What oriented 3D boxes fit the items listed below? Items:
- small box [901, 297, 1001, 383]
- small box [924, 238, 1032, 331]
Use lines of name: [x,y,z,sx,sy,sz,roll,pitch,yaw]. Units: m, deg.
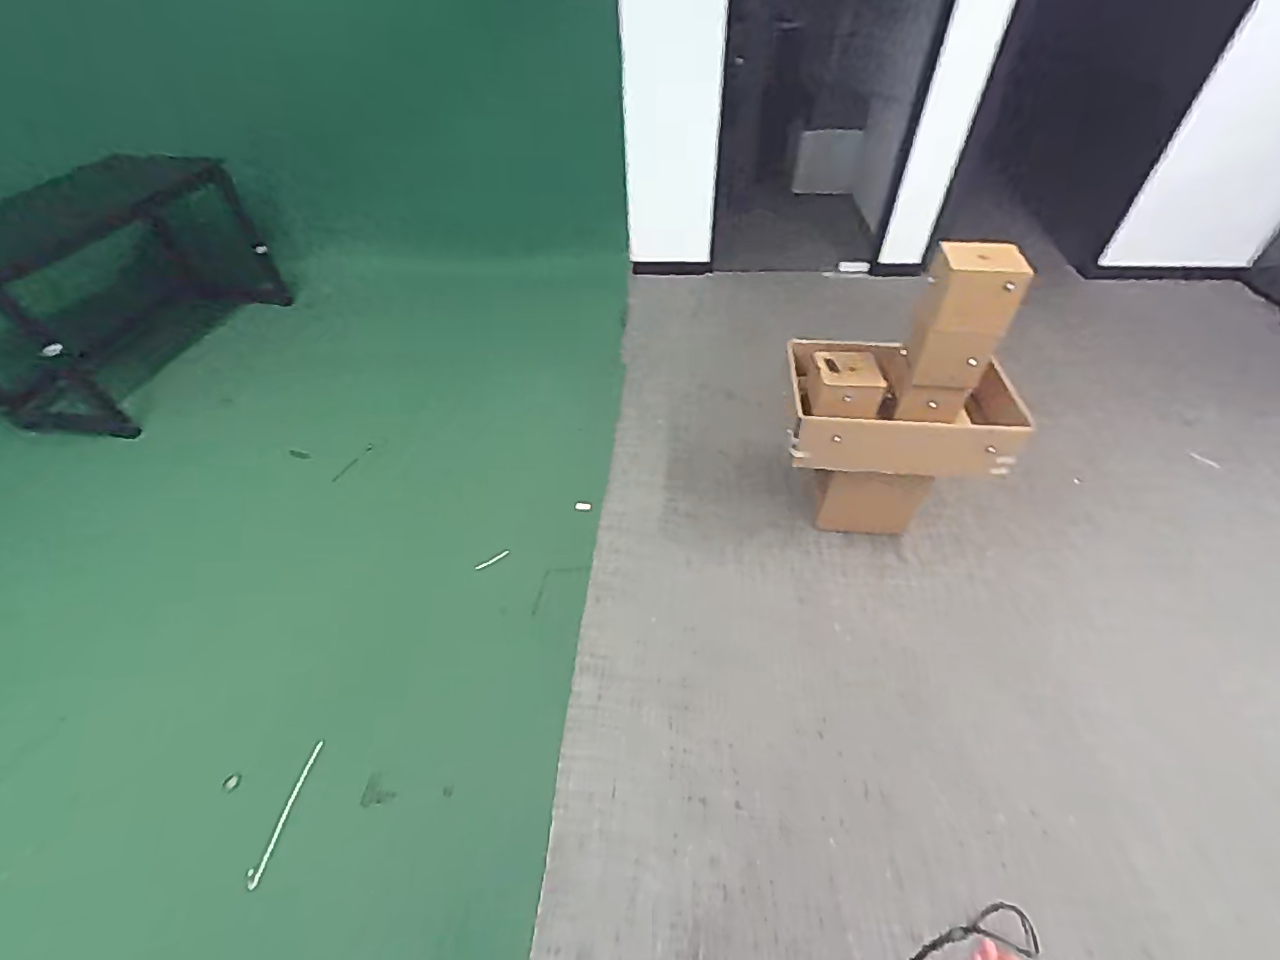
small box: [0.841,-0.381,1.482,0.179,0.176,0.168,5,47,9]
small box: [0.837,-0.492,1.365,0.179,0.176,0.168,6,47,10]
